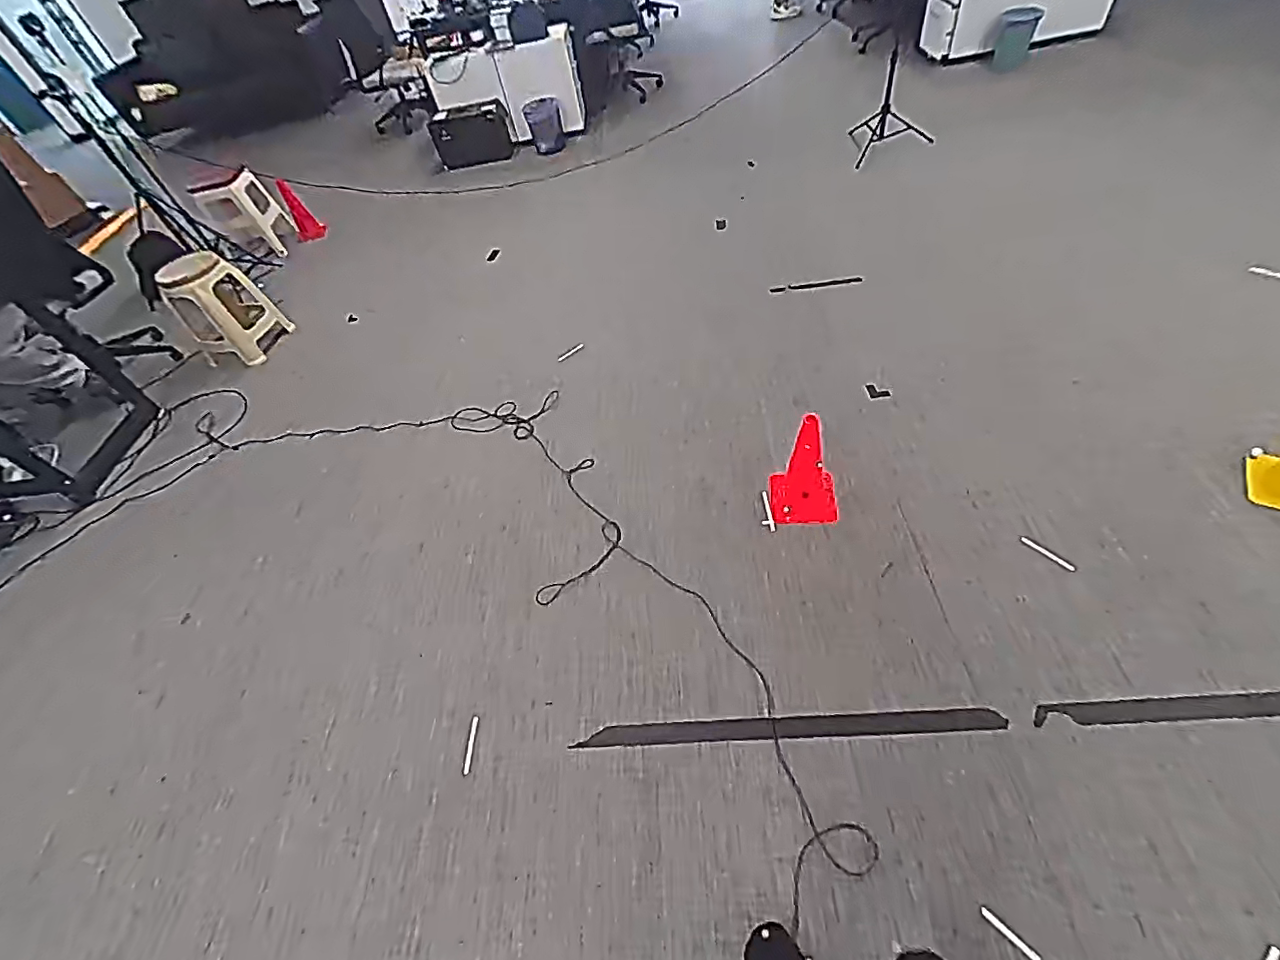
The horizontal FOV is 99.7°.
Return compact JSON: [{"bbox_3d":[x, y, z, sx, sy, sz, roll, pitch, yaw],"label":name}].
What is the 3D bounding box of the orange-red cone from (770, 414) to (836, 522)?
[{"bbox_3d":[0.487,-0.054,1.582,0.199,0.360,0.198,0,52,10],"label":"orange-red cone"}]
